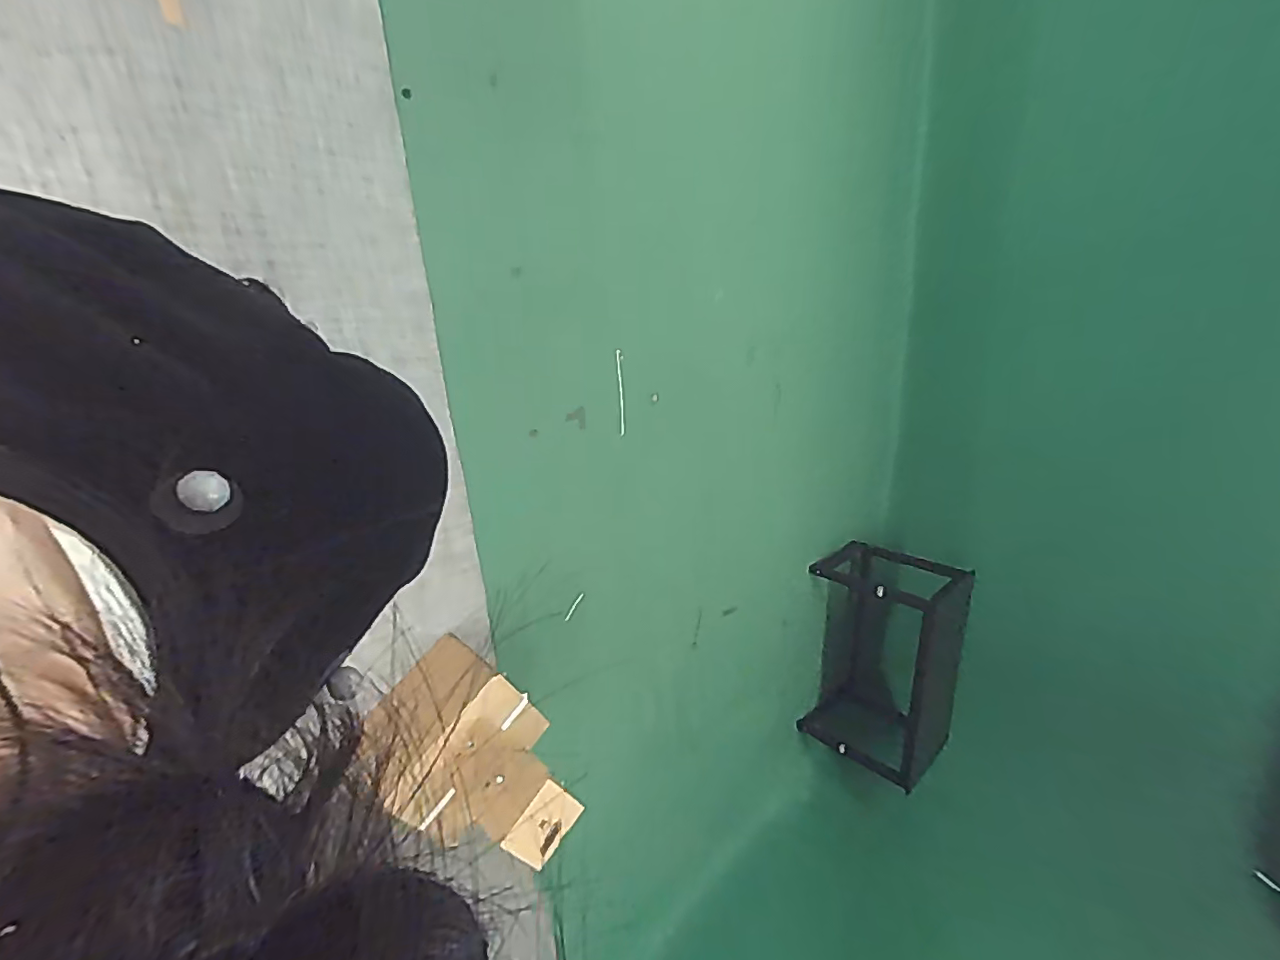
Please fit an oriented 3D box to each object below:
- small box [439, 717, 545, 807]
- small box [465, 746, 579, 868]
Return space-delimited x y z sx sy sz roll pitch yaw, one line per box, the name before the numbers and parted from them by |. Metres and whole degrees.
small box | -0.395 0.769 1.445 0.168 0.176 0.179 -52 131 -22
small box | -0.288 0.790 1.322 0.168 0.176 0.179 -48 128 -25
